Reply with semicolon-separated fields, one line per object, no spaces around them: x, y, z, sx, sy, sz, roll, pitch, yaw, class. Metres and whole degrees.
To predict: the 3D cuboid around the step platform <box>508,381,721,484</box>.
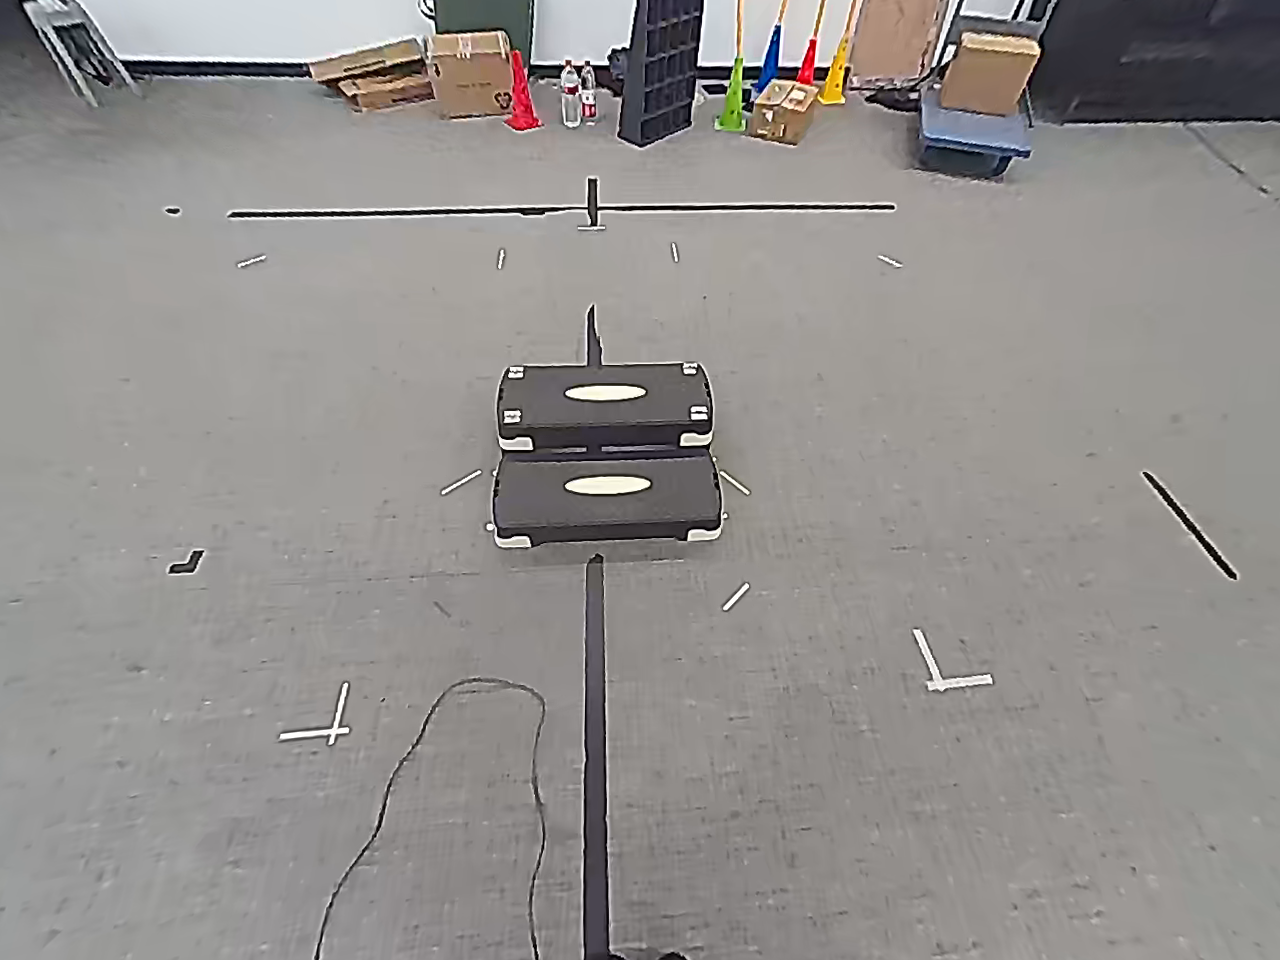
-0.080;-0.158;1.768;0.684;0.204;0.286;2;51;-1;step platform
